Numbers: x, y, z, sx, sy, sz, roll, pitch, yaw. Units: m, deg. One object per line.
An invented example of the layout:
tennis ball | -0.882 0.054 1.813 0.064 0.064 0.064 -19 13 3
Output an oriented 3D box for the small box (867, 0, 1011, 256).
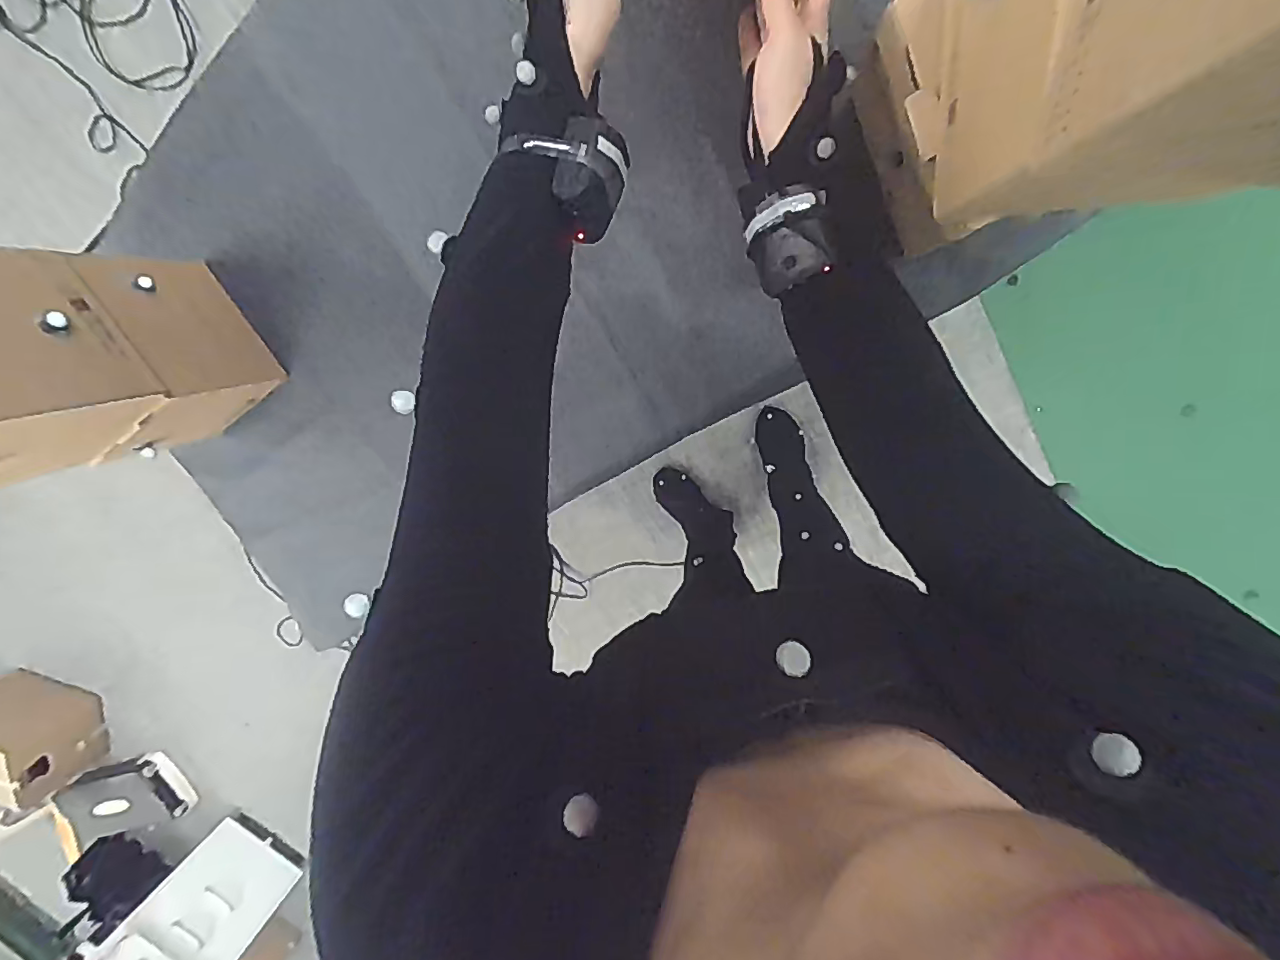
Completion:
small box | 0.294 -0.296 0.426 0.179 0.176 0.168 -22 100 19

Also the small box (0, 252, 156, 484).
small box | -0.625 -0.095 0.506 0.179 0.176 0.168 -28 102 18
